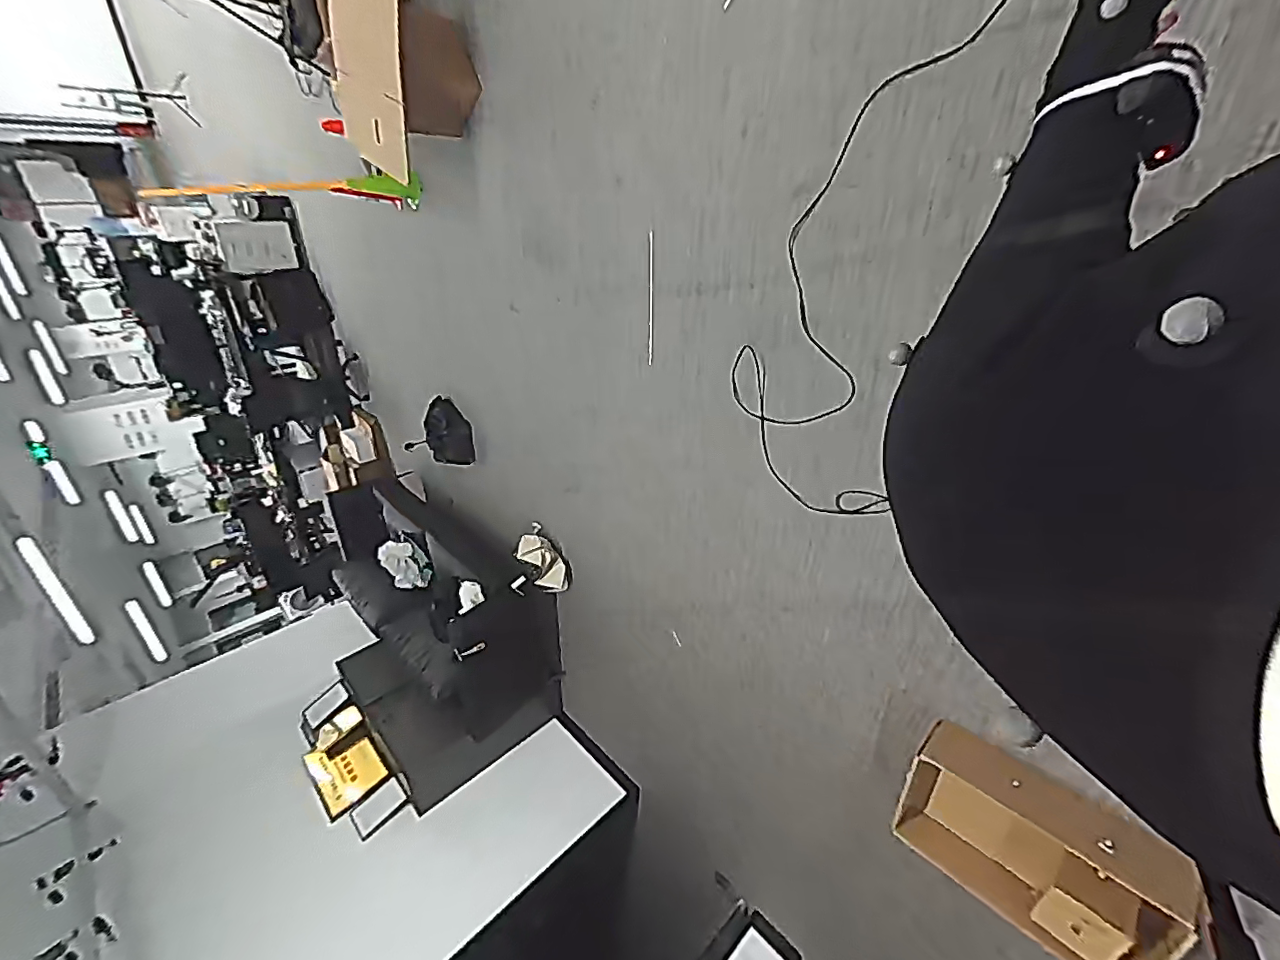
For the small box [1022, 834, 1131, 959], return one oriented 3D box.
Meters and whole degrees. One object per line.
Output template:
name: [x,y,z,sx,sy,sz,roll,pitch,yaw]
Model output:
small box: [1.155,1.098,1.429,0.168,0.176,0.179,27,129,39]
